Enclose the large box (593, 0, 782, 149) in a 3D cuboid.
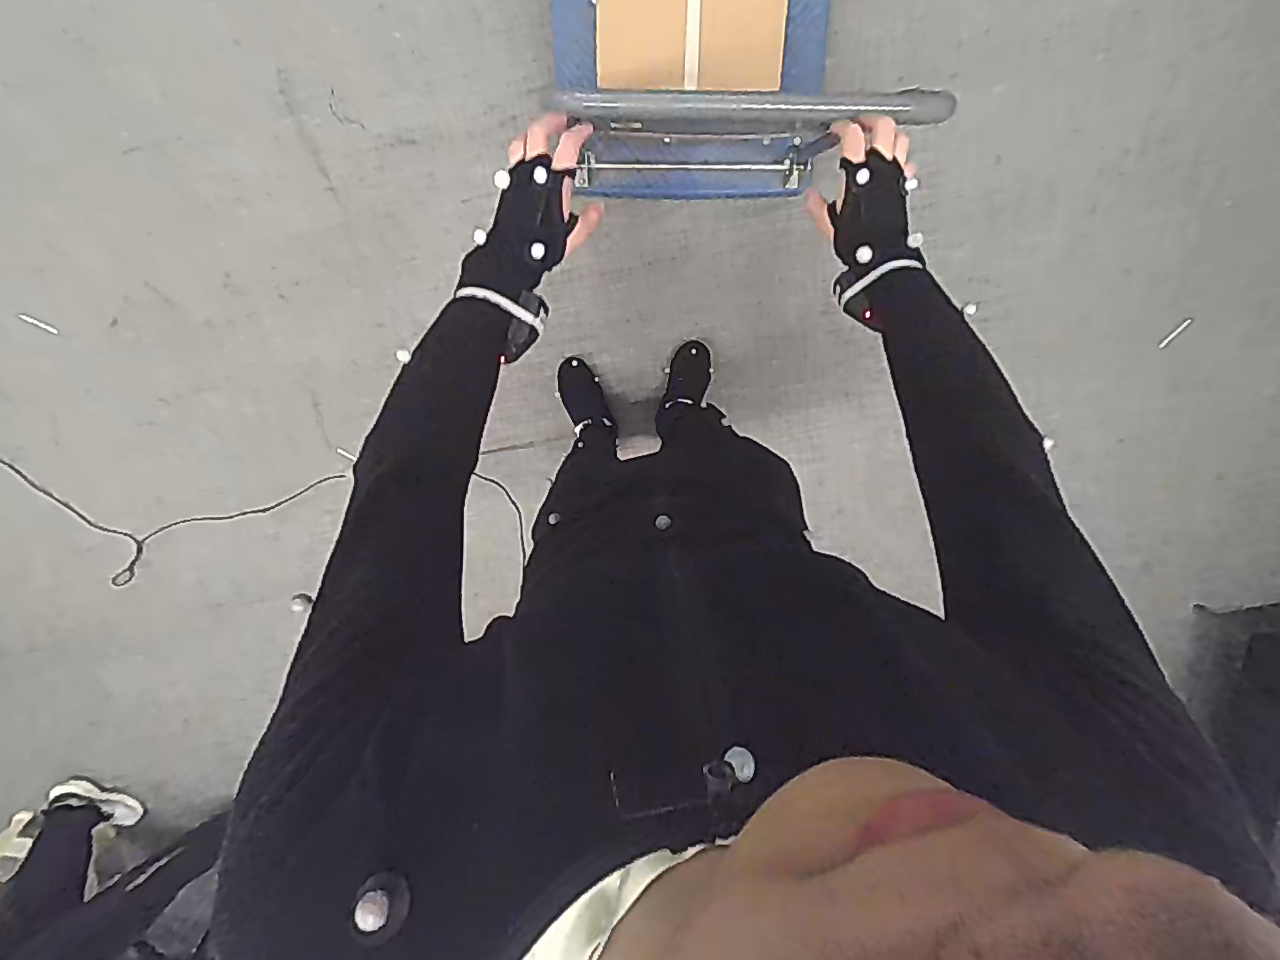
[{"bbox_3d":[0.076,-0.883,1.007,0.320,0.320,0.408,0,108,-2],"label":"large box"}]
